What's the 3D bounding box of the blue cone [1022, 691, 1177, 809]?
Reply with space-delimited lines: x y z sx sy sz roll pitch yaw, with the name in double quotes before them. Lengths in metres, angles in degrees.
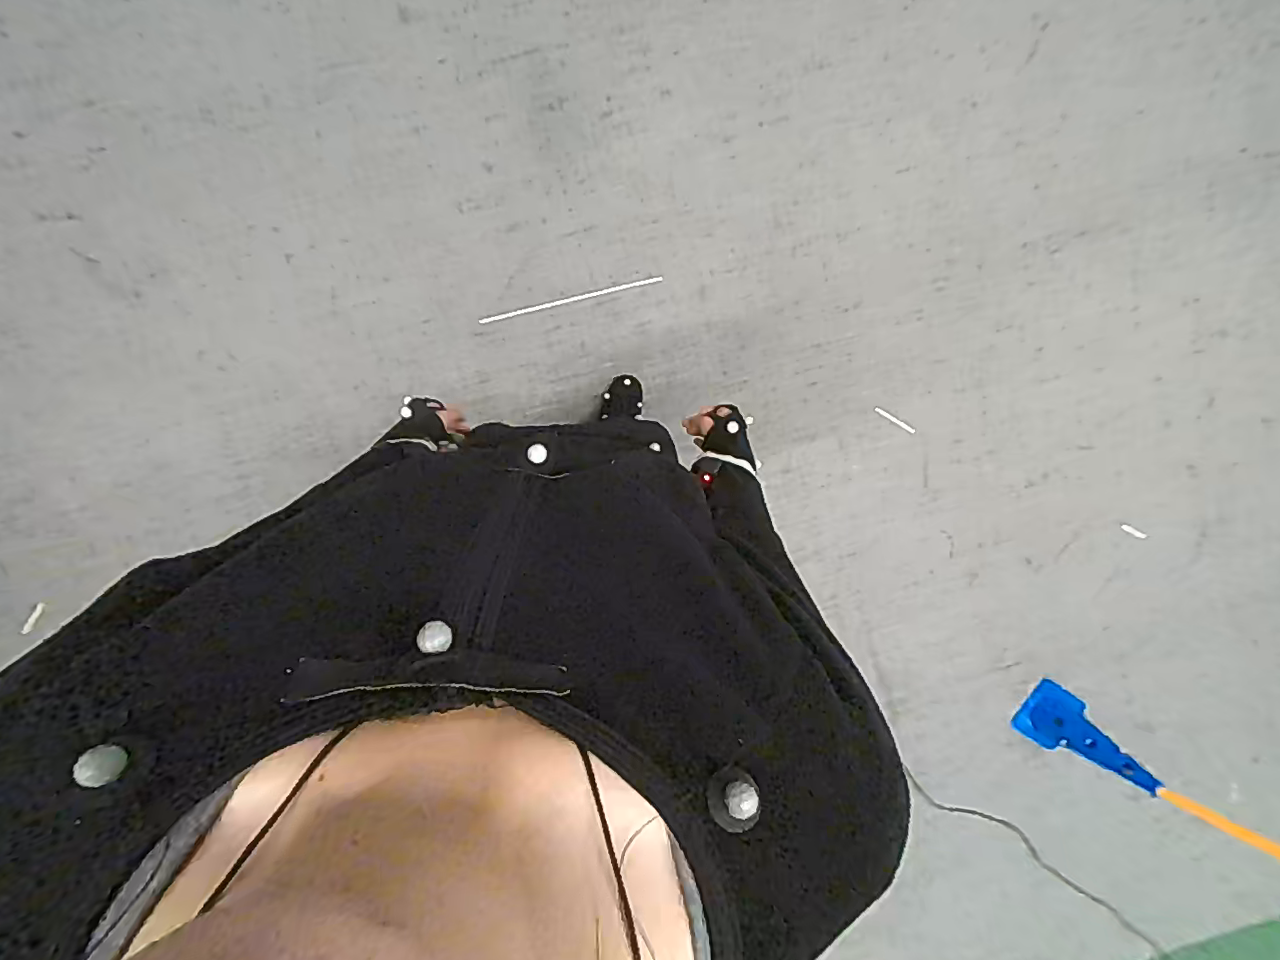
"blue cone" 1.354 0.809 1.583 0.192 0.380 0.193 31 94 -8
